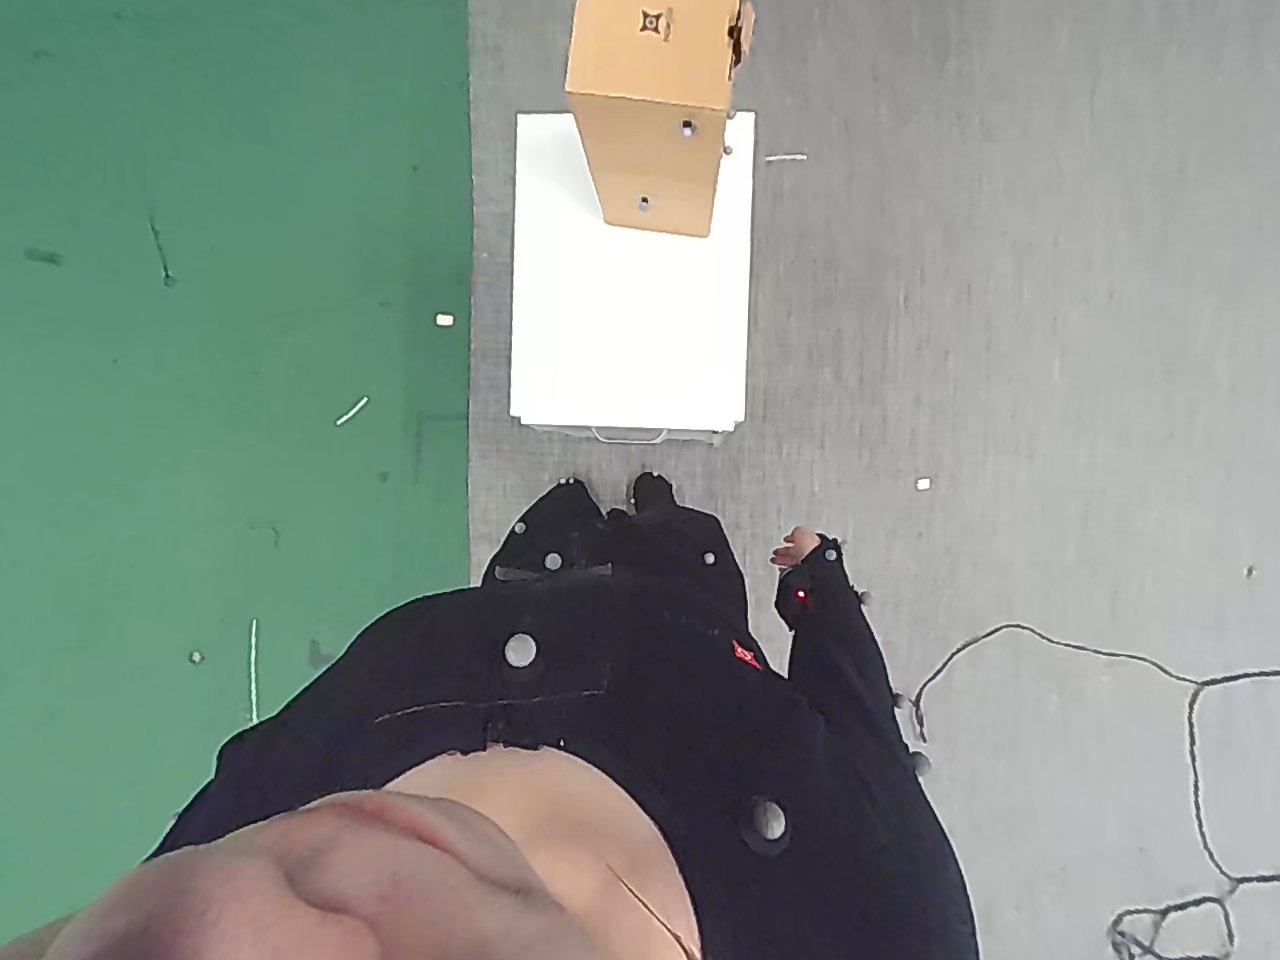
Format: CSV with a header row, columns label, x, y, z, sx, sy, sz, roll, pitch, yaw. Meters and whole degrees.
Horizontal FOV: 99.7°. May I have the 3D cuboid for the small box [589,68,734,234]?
label,x,y,z,sx,sy,sz,roll,pitch,yaw
small box,0.033,-0.491,0.811,0.179,0.176,0.168,9,92,3

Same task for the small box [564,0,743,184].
label,x,y,z,sx,sy,sz,roll,pitch,yaw
small box,0.020,-0.484,0.649,0.179,0.176,0.168,8,92,2
